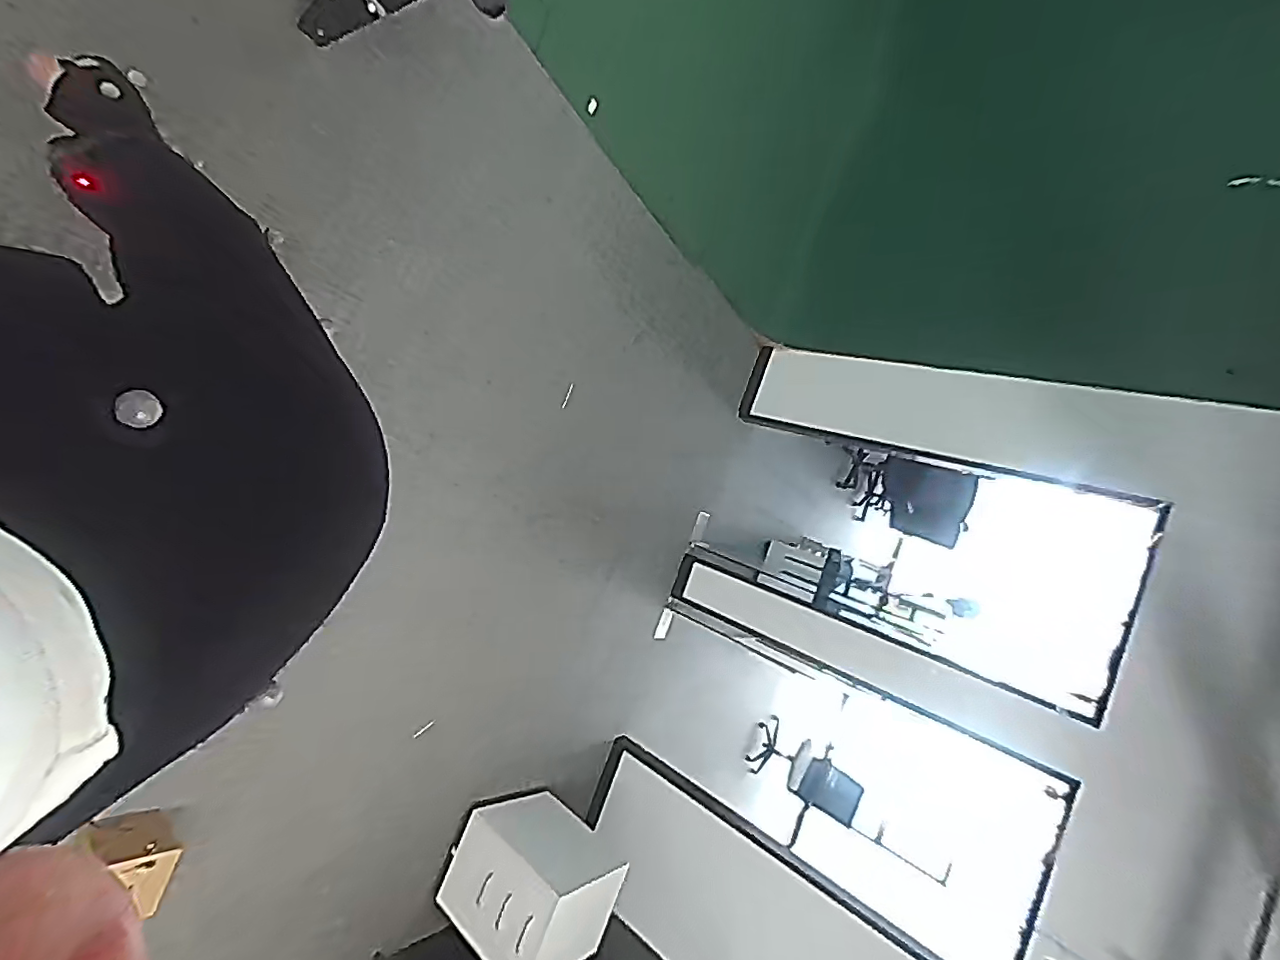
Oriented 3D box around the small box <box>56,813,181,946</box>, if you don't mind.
[{"bbox_3d":[-1.281,0.965,1.325,0.168,0.176,0.179,29,81,-56],"label":"small box"}]
